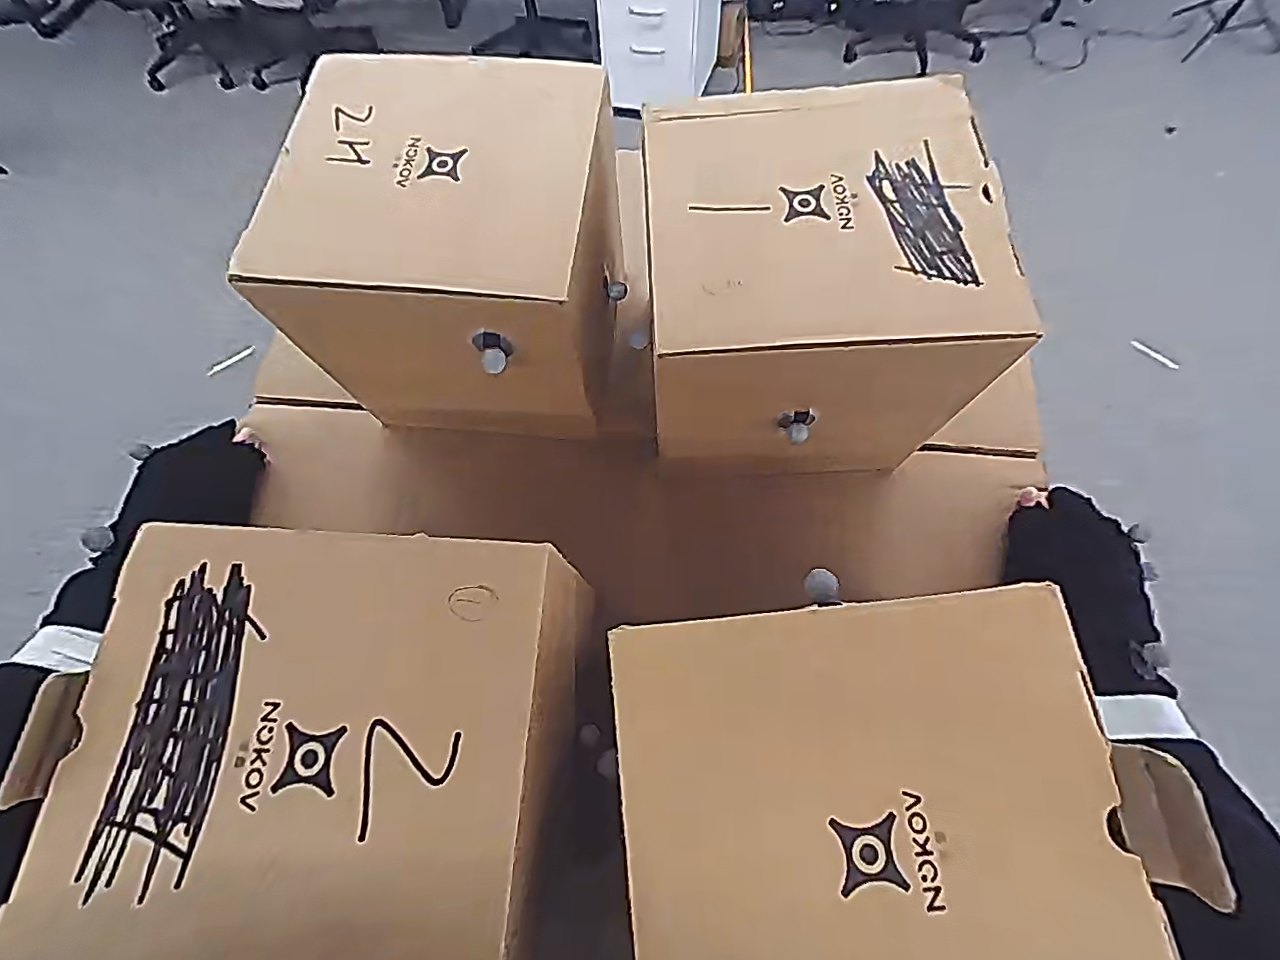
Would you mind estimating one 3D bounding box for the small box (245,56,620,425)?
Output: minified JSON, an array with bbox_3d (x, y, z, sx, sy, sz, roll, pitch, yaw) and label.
[{"bbox_3d":[-0.111,-0.150,0.380,0.179,0.176,0.168,6,70,5],"label":"small box"}]
